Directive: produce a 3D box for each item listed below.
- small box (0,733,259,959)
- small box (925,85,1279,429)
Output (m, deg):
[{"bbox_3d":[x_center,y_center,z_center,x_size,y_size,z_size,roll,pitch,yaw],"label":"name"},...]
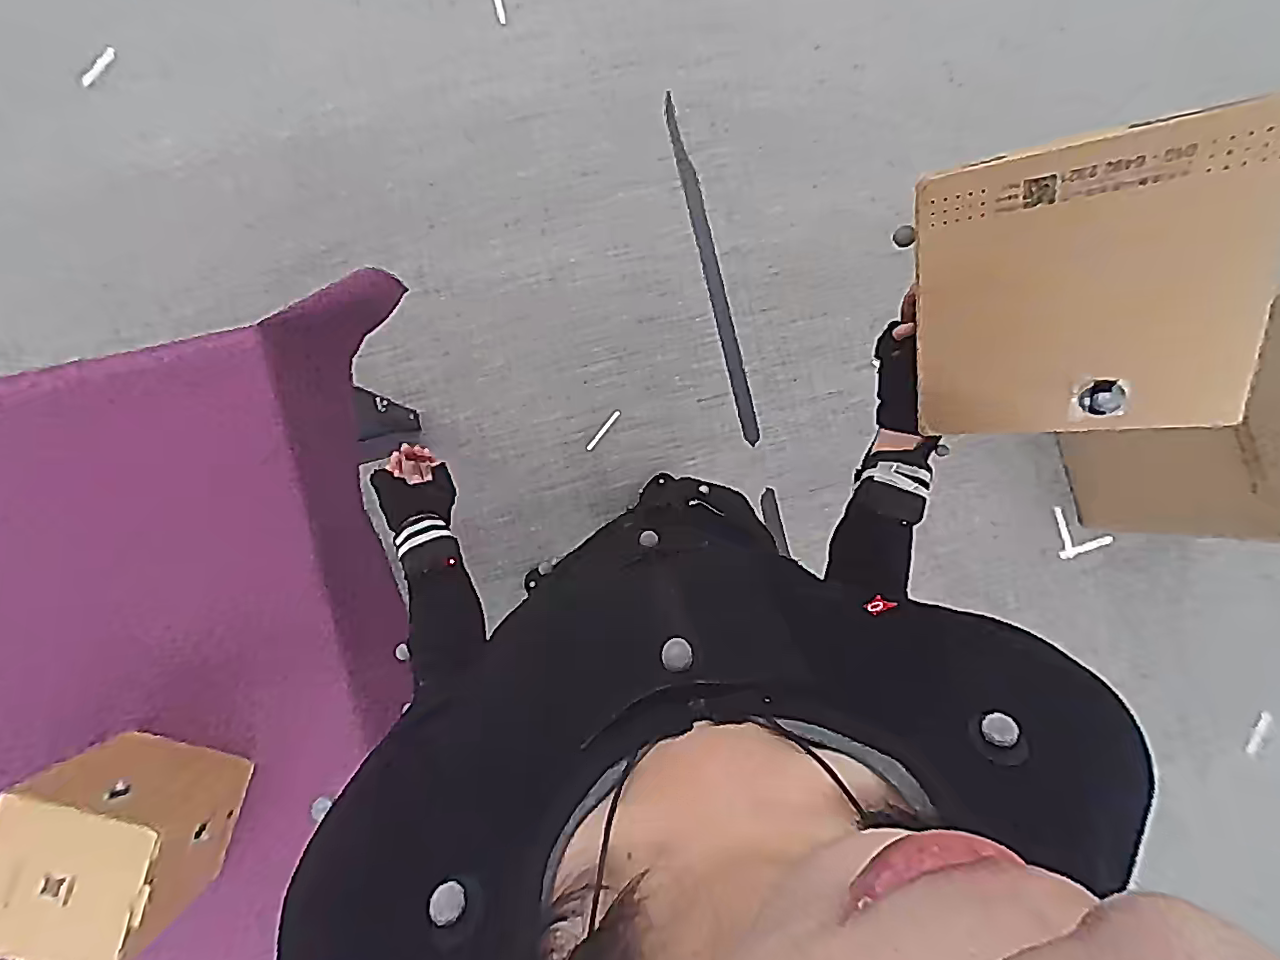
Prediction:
[{"bbox_3d":[-0.628,0.443,0.673,0.179,0.176,0.168,16,86,-2],"label":"small box"},{"bbox_3d":[0.292,-0.147,0.374,0.168,0.179,0.176,0,118,29],"label":"small box"}]
